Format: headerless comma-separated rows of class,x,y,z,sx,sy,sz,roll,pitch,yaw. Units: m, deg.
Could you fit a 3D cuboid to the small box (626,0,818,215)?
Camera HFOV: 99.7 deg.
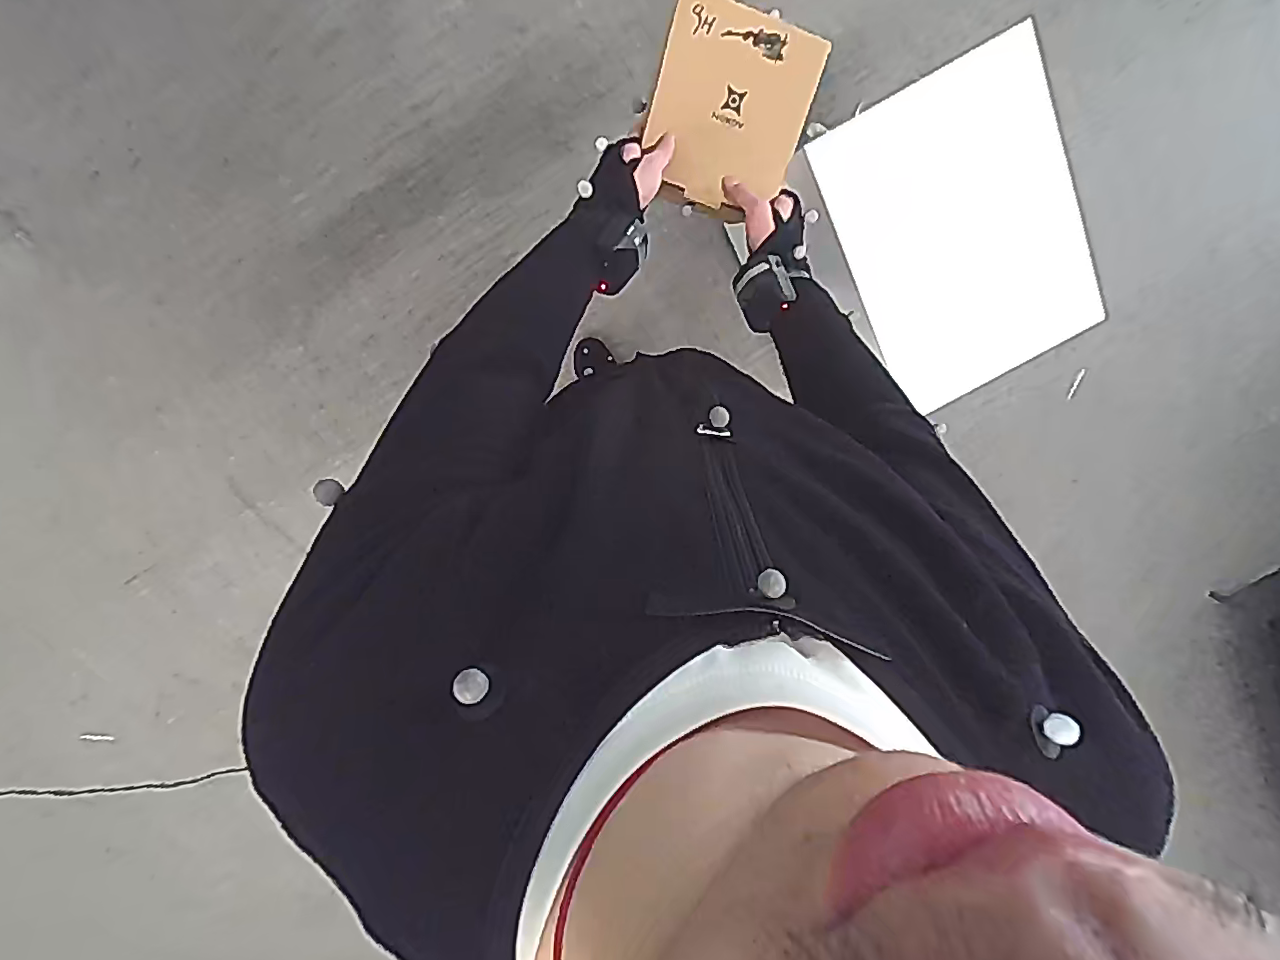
small box,0.082,-0.434,0.651,0.168,0.176,0.179,11,112,-10
